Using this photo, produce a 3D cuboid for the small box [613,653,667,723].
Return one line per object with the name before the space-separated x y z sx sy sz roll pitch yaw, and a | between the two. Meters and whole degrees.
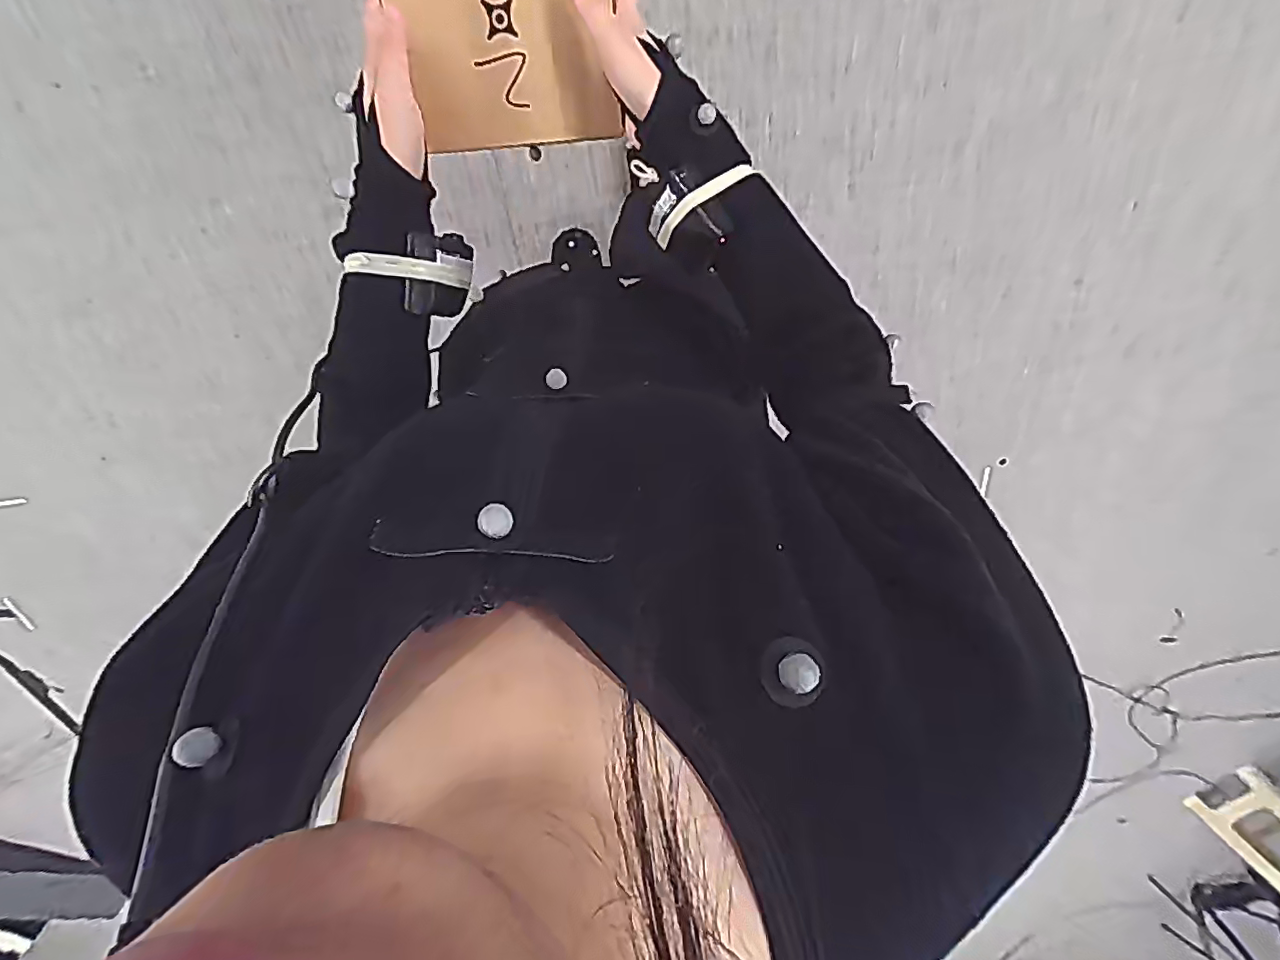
small box | -0.002 0.748 1.960 0.179 0.176 0.168 -7 118 1
